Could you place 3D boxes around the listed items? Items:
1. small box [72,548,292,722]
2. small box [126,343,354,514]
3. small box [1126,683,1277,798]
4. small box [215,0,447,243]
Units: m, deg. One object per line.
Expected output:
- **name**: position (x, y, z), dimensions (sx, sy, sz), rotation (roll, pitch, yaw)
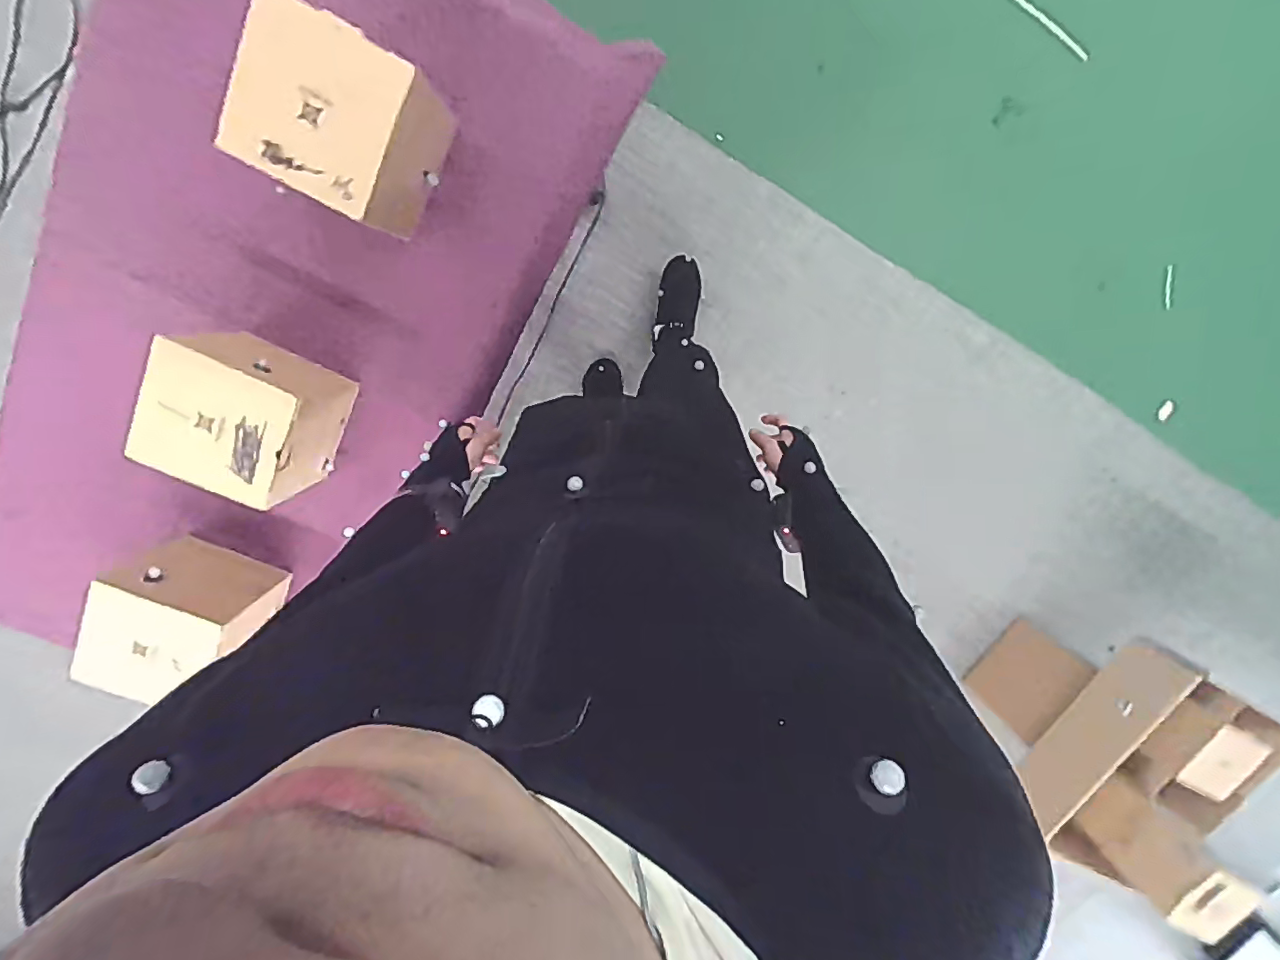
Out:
- **small box**: position (-0.682, 0.223, 0.824), dimensions (0.179, 0.176, 0.168), rotation (23, 103, -9)
- **small box**: position (-0.533, -0.082, 0.747), dimensions (0.179, 0.176, 0.168), rotation (25, 103, -9)
- **small box**: position (1.418, 0.656, 1.381), dimensions (0.168, 0.176, 0.179), rotation (27, 104, -10)
- **small box**: position (-0.356, -0.419, 0.660), dimensions (0.168, 0.176, 0.179), rotation (26, 102, -10)
